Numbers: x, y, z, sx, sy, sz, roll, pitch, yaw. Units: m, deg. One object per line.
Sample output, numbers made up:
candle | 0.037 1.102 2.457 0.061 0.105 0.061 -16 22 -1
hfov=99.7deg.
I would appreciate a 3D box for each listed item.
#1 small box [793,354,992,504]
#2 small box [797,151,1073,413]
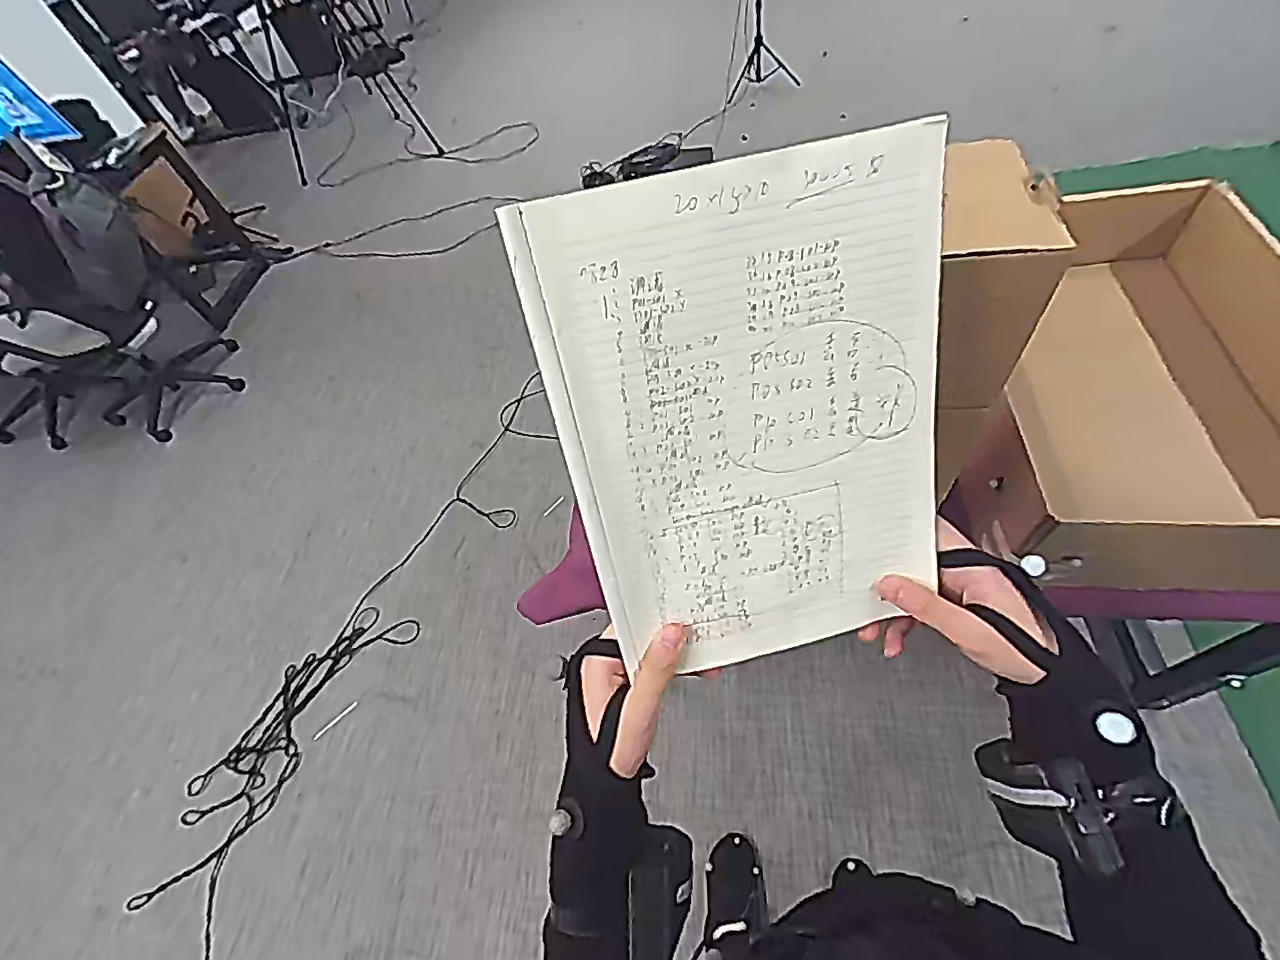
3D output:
small box | 0.279 -0.082 0.645 0.179 0.176 0.168 -1 54 13
small box | 0.249 -0.178 0.513 0.179 0.176 0.168 0 54 11
